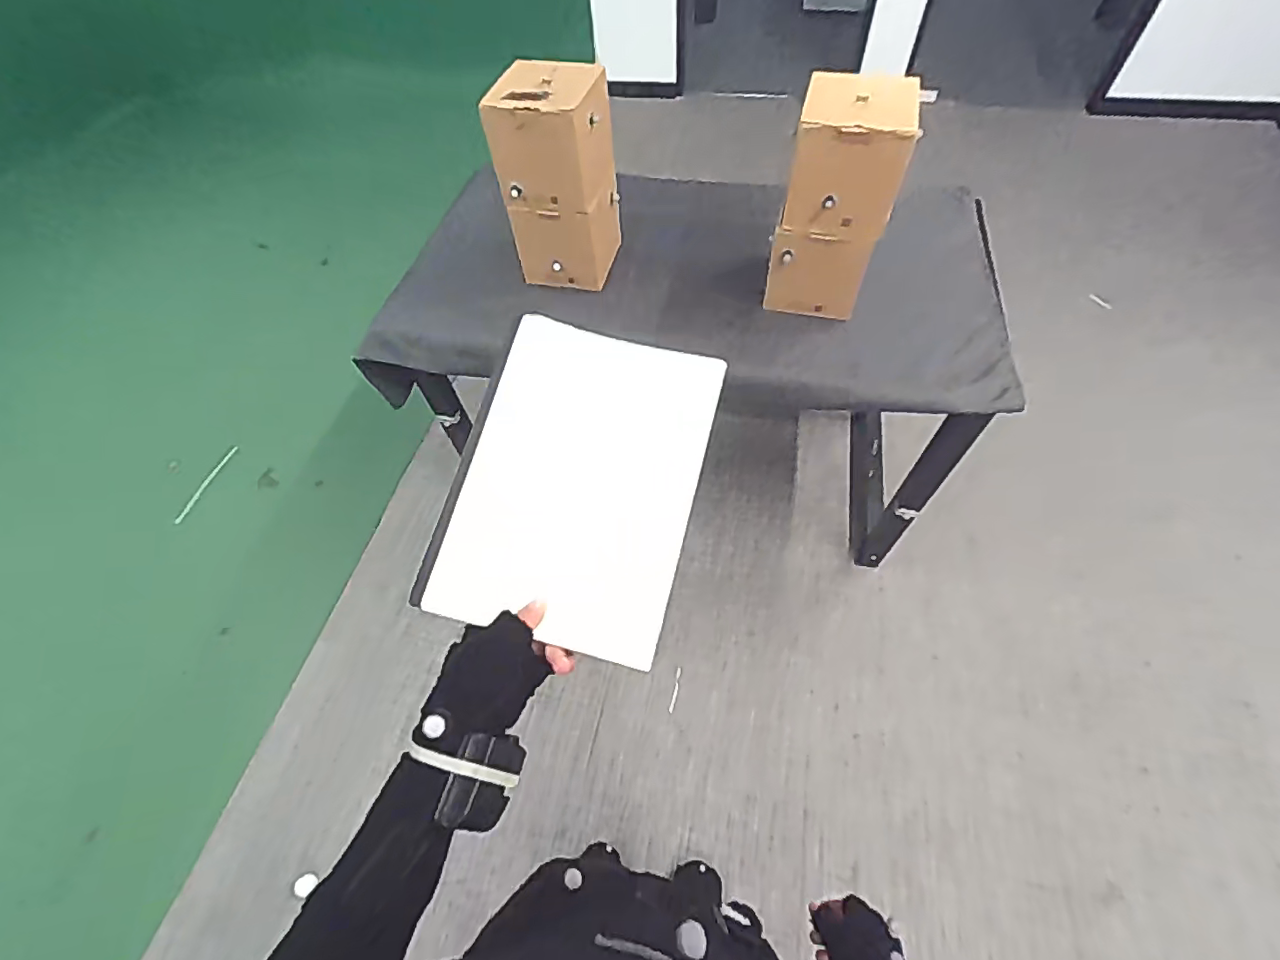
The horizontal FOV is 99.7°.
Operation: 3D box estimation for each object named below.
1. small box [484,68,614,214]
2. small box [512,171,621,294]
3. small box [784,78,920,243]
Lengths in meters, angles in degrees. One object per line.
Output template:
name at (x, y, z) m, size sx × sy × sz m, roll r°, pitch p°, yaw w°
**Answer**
small box at (-0.150, -0.602, 0.967) m, size 0.168 × 0.176 × 0.179 m, roll 11°, pitch 57°, yaw 10°
small box at (-0.139, -0.509, 1.102) m, size 0.168 × 0.176 × 0.179 m, roll 9°, pitch 58°, yaw 10°
small box at (0.340, -0.520, 0.885) m, size 0.168 × 0.176 × 0.179 m, roll 12°, pitch 58°, yaw 11°
